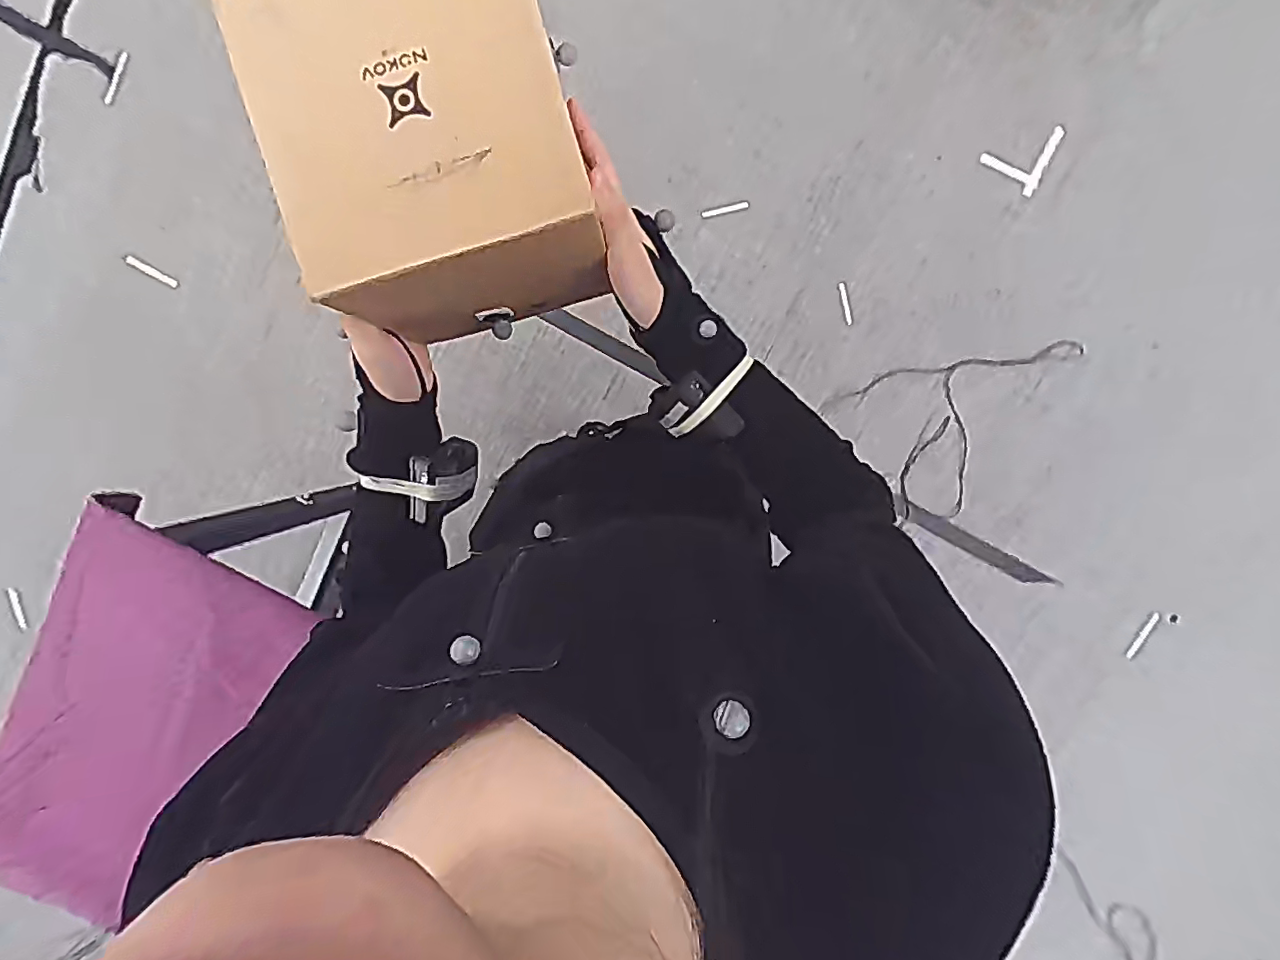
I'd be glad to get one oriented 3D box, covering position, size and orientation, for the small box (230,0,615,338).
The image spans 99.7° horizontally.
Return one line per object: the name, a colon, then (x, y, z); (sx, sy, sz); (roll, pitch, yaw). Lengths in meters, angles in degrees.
small box: (-0.118, -0.212, 0.365); (0.168, 0.176, 0.179); (-15, 95, 2)
